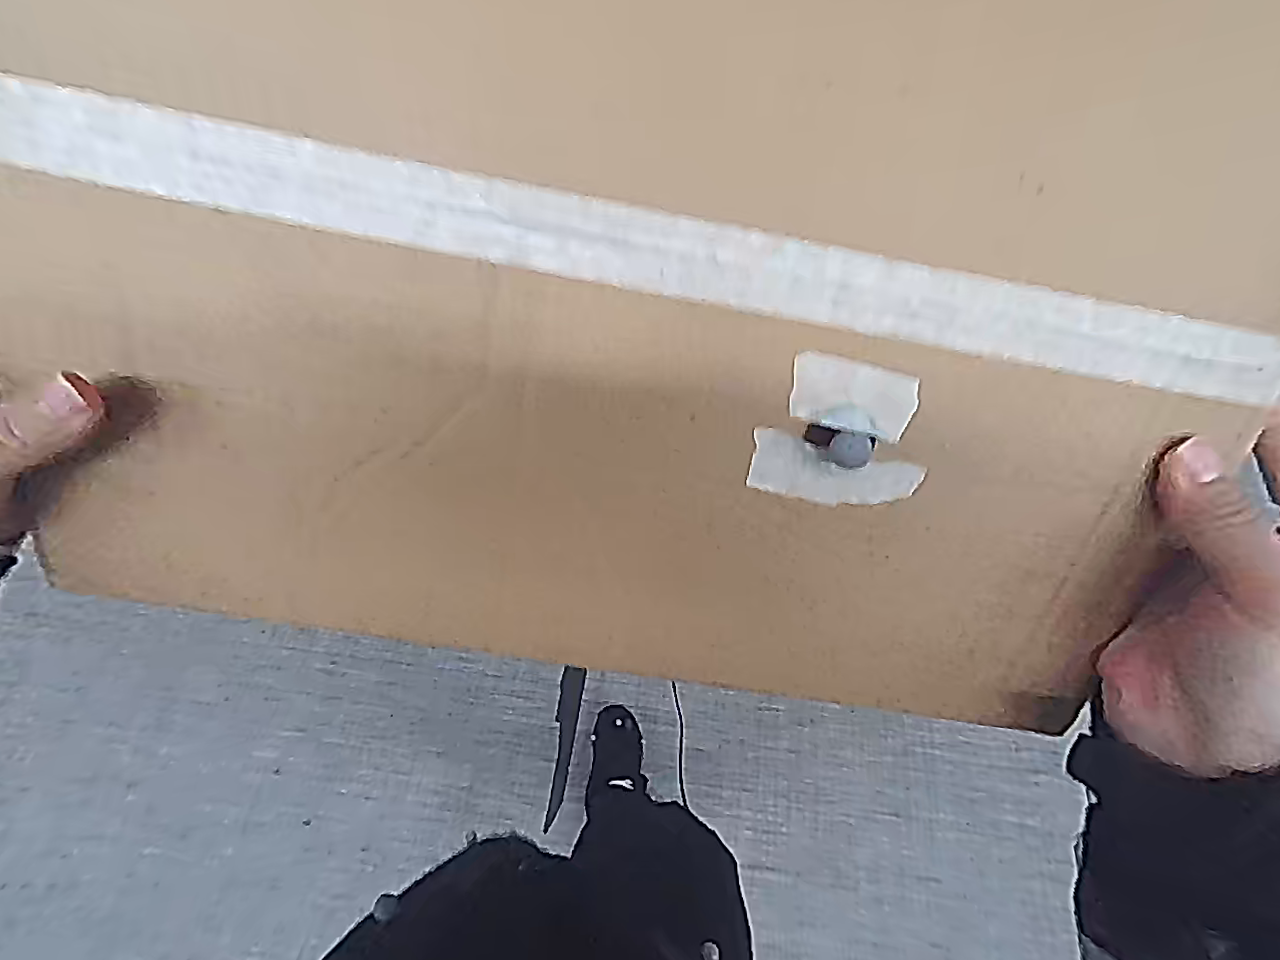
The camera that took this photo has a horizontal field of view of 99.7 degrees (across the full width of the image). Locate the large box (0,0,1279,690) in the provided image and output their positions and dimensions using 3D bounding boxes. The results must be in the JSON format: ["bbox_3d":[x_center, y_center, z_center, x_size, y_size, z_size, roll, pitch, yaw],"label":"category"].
[{"bbox_3d":[0.011,-0.128,0.308,0.408,0.320,0.320,9,23,-5],"label":"large box"}]
